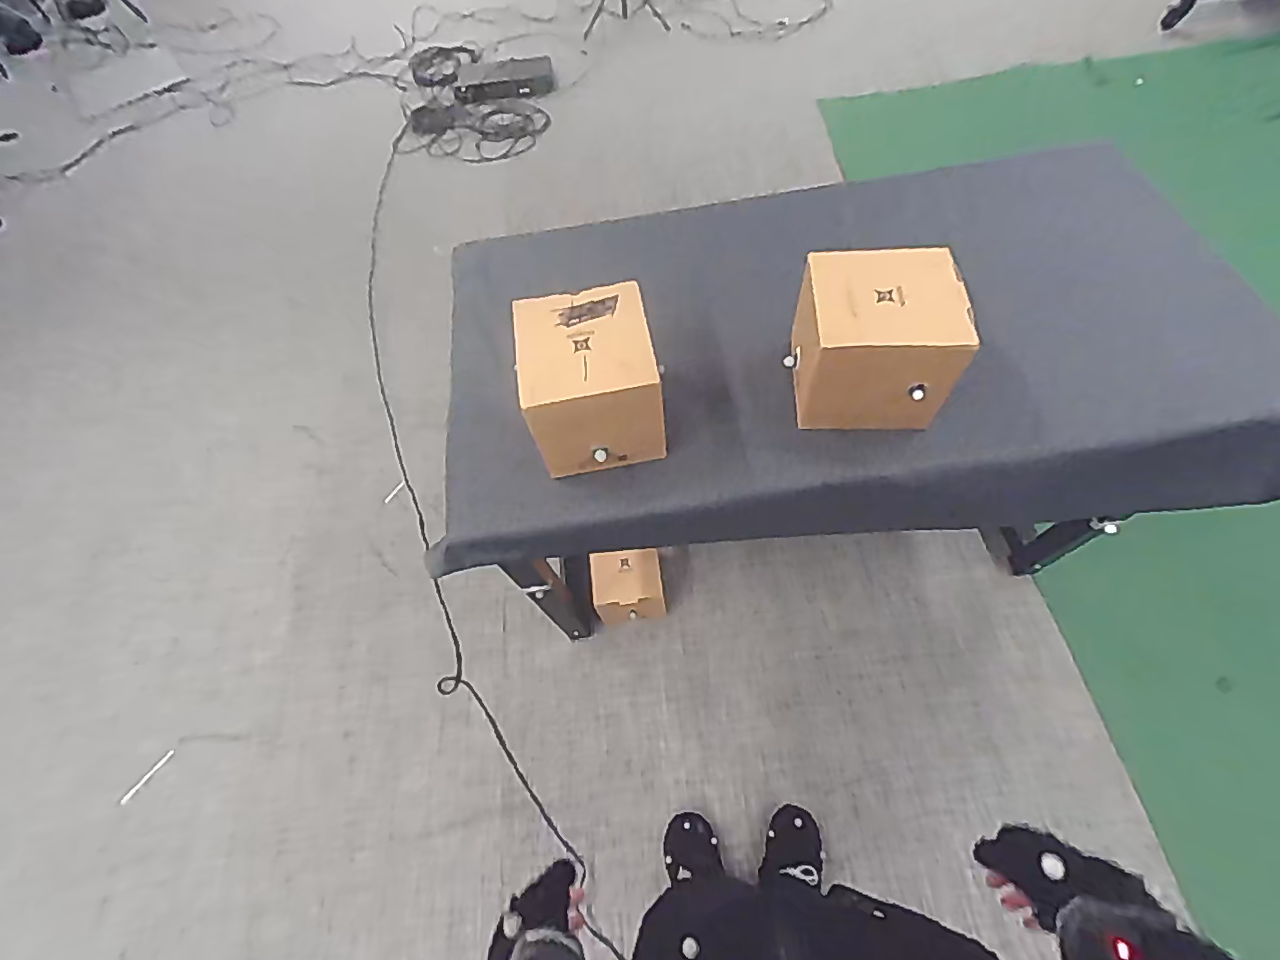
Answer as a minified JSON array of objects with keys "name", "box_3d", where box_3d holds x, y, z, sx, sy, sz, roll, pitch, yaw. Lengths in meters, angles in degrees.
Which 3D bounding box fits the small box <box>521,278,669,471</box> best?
[{"name":"small box","box_3d":[-0.056,-0.137,0.730,0.168,0.176,0.179,-11,61,0]}]

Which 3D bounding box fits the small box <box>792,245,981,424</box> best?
[{"name":"small box","box_3d":[0.310,-0.187,0.724,0.179,0.176,0.168,-1,60,7]}]
